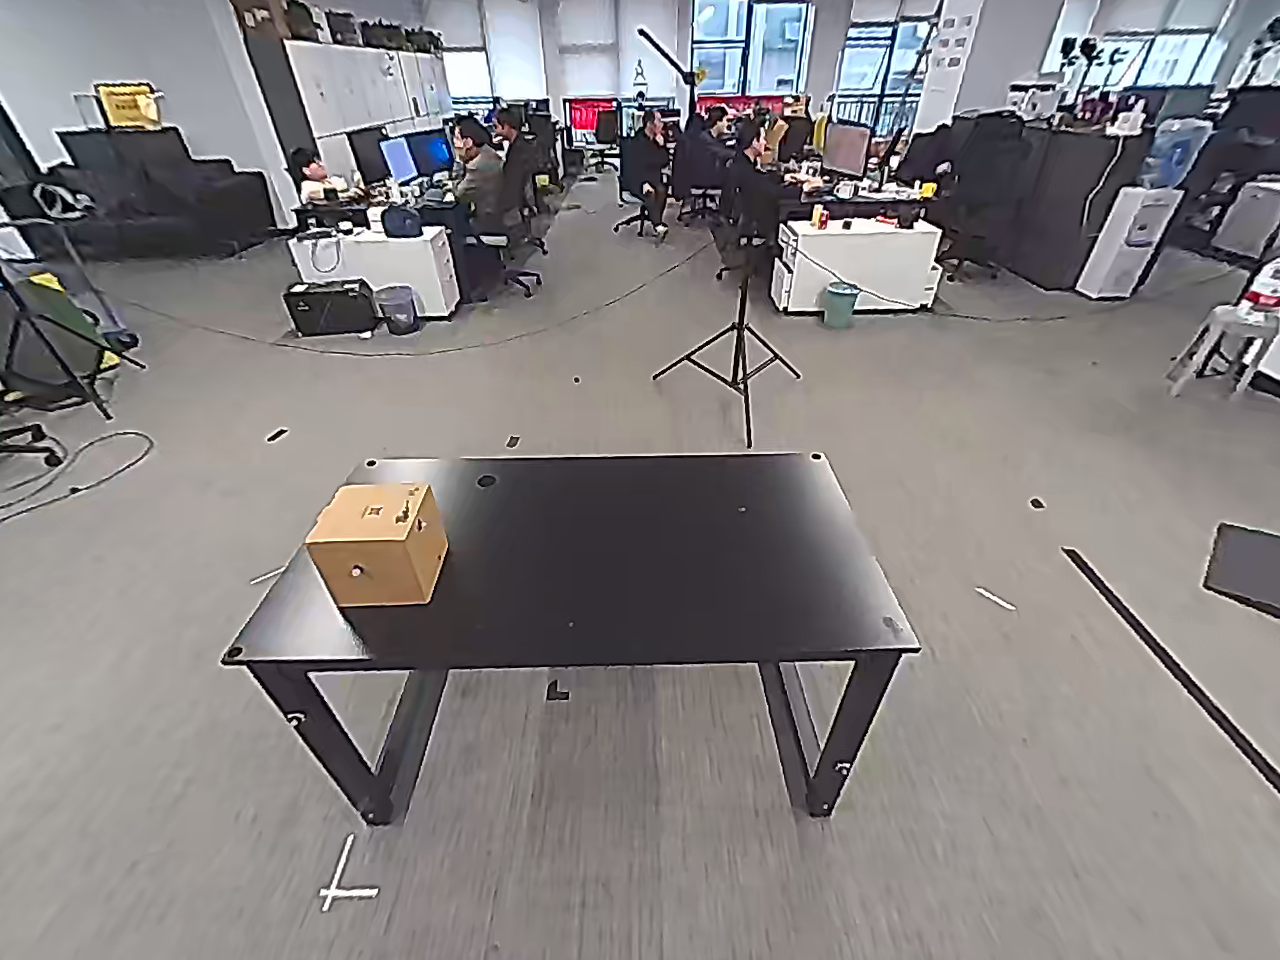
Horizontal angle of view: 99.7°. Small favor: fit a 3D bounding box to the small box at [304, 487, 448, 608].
[{"bbox_3d":[-0.493,0.131,1.040,0.179,0.176,0.168,-3,37,-1],"label":"small box"}]
